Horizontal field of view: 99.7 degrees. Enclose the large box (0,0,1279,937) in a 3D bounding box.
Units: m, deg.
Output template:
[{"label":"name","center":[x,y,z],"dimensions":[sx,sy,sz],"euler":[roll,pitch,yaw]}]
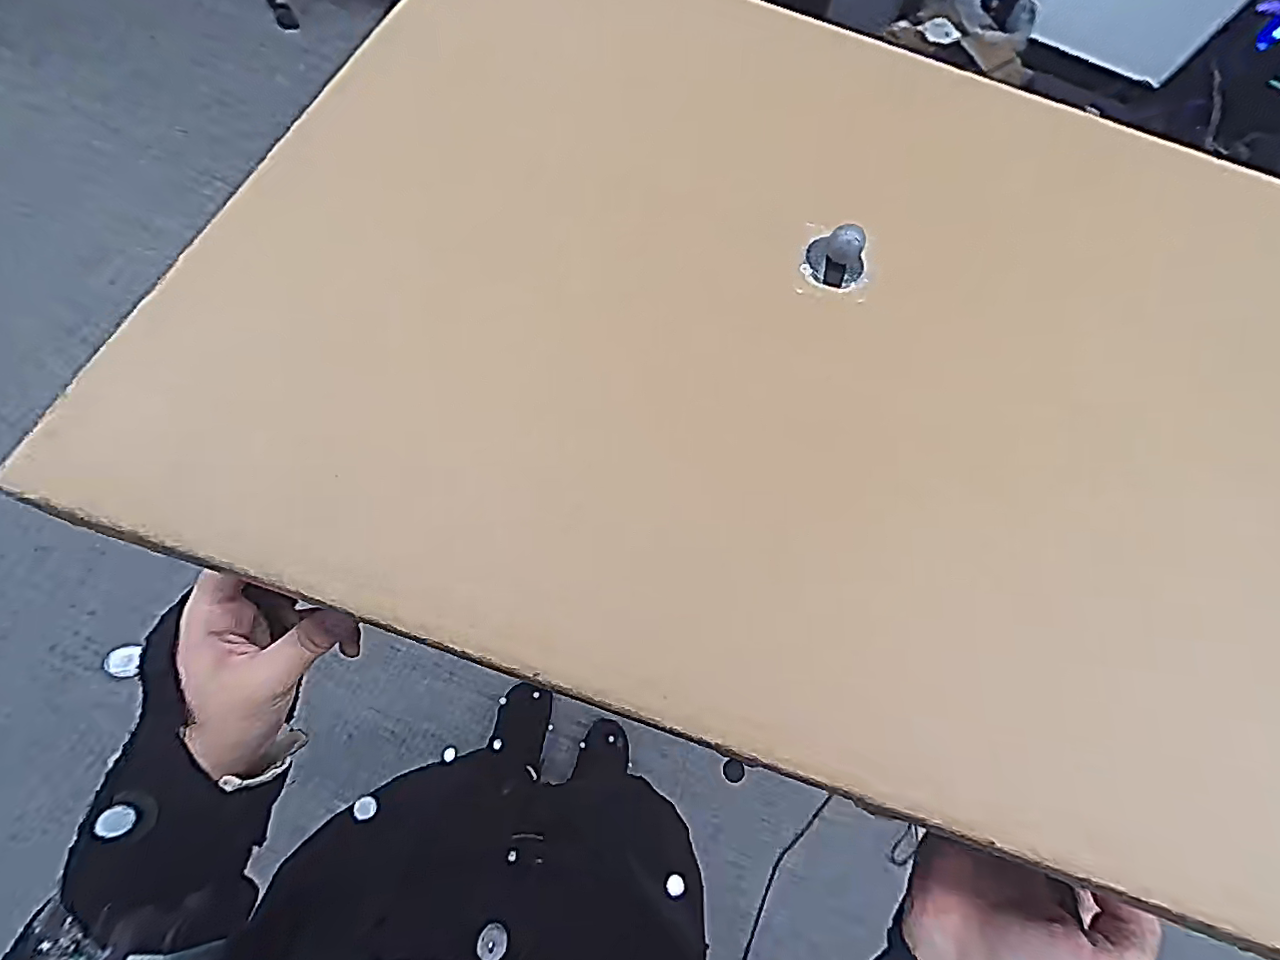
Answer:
[{"label":"large box","center":[0.035,-0.021,0.332],"dimensions":[0.408,0.320,0.320],"euler":[18,70,2]}]
